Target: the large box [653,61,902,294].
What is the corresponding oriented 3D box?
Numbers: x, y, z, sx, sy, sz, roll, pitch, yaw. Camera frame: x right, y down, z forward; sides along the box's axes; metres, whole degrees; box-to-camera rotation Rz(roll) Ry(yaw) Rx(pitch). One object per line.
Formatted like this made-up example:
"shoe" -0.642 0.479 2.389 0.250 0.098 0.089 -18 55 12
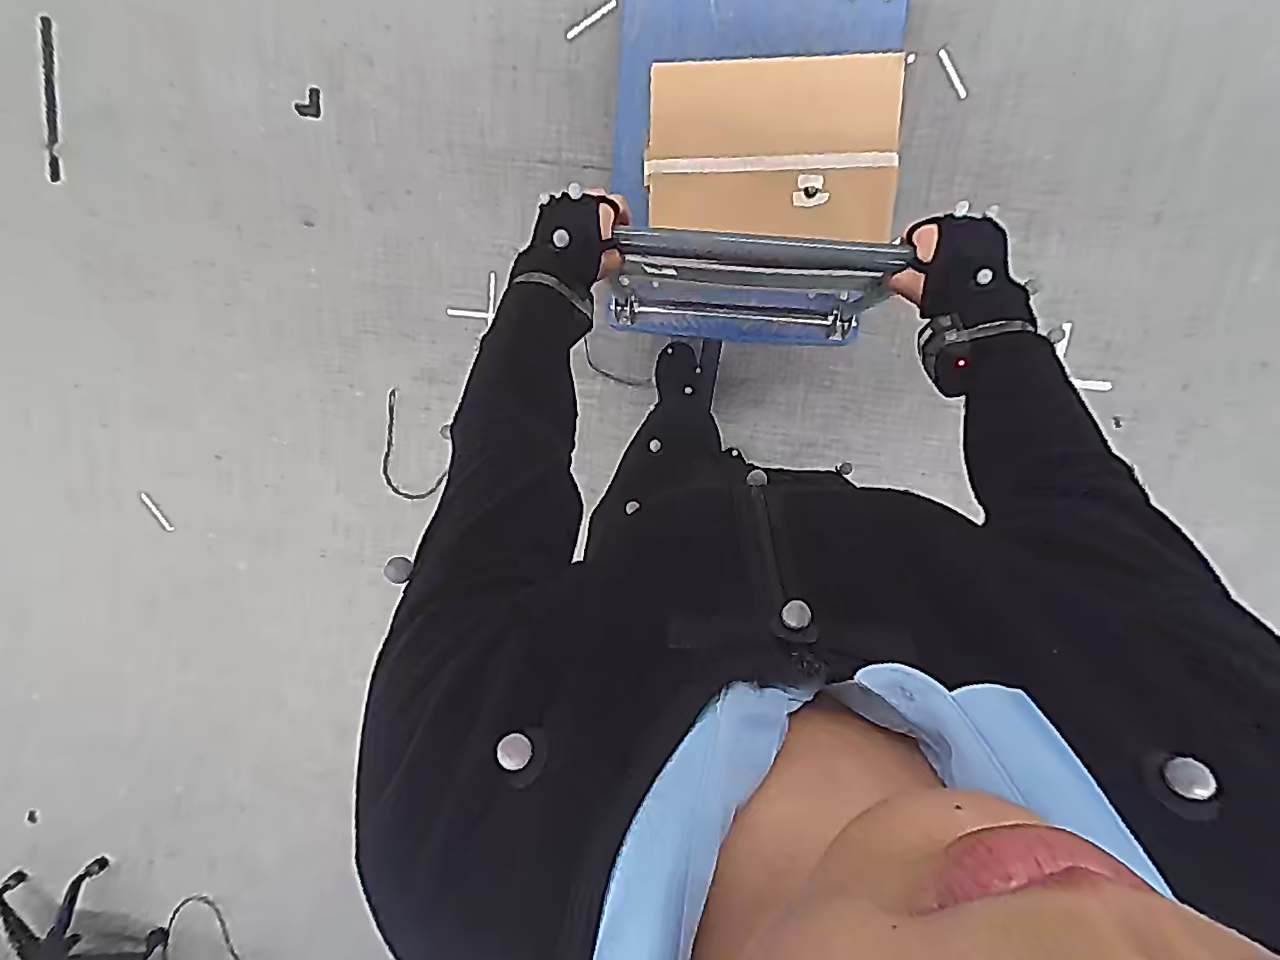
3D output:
"large box" 0.233 -0.550 1.053 0.408 0.320 0.320 1 102 4
